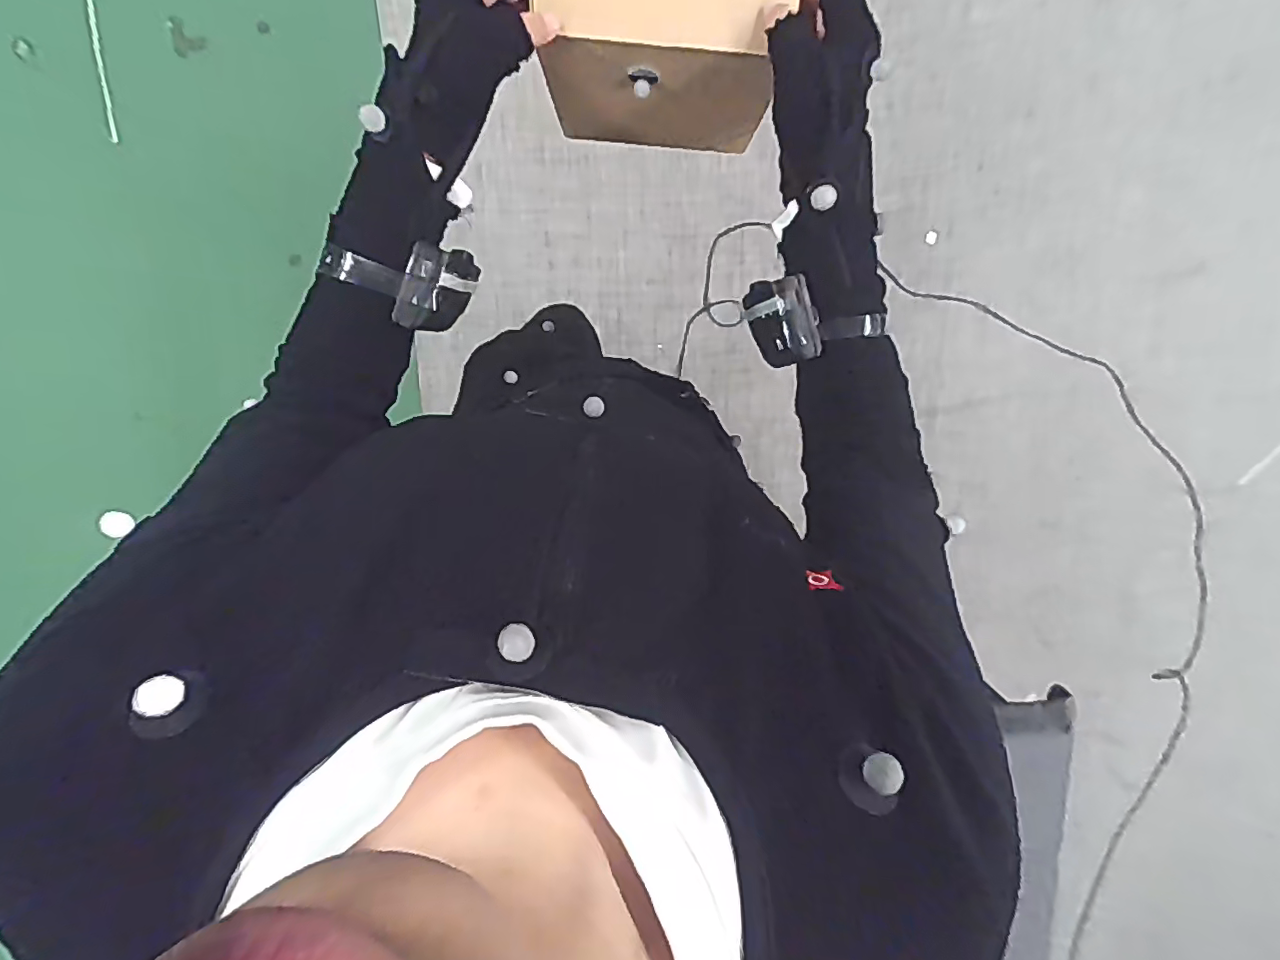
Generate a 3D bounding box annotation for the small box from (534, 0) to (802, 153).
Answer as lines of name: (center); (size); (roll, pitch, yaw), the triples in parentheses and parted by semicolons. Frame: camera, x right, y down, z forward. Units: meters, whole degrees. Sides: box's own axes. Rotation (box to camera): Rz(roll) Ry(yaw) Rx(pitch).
small box: (0.023, -0.379, 0.421); (0.179, 0.176, 0.168); (5, 102, -2)
